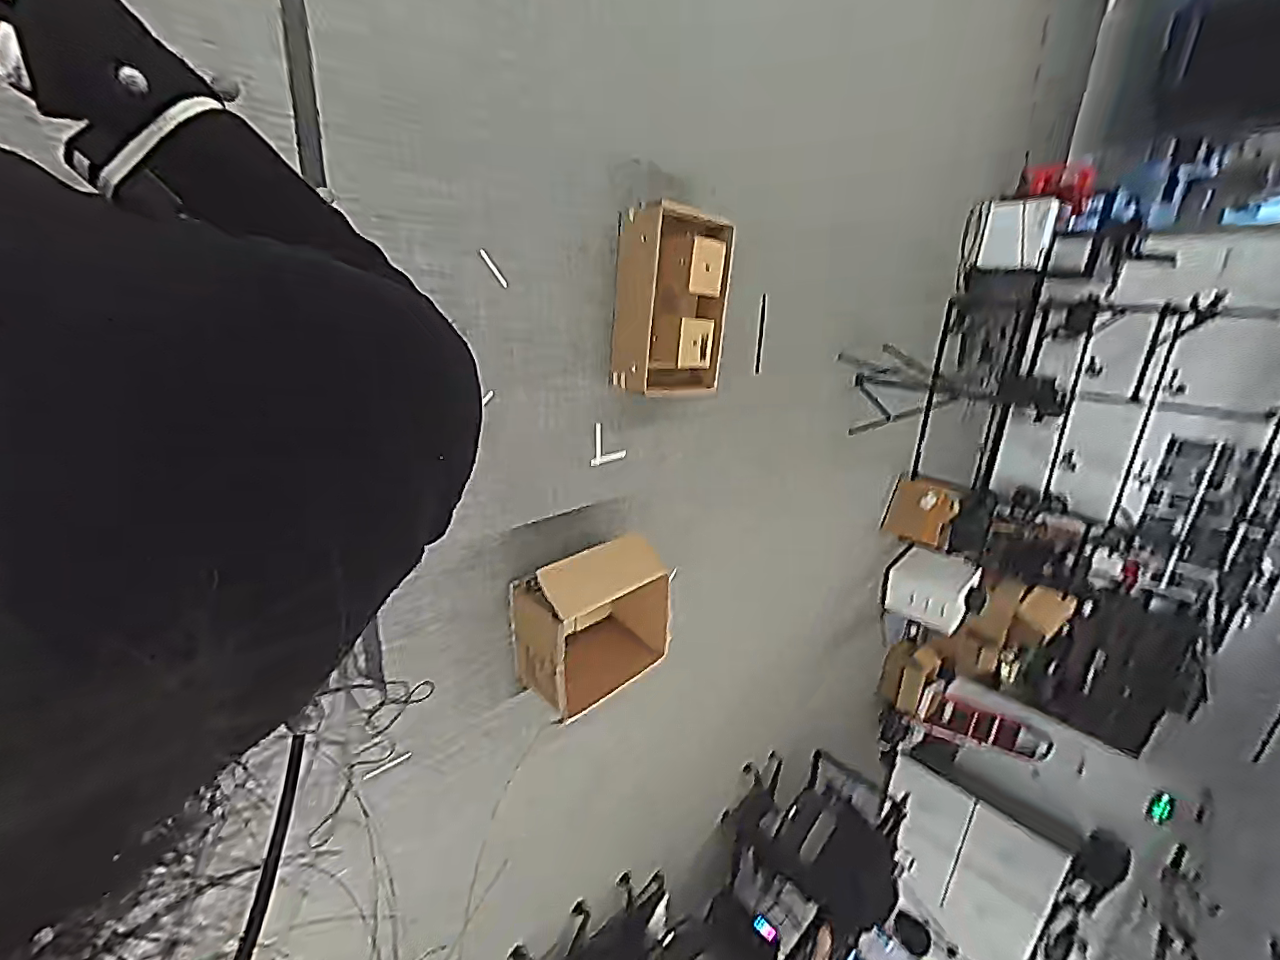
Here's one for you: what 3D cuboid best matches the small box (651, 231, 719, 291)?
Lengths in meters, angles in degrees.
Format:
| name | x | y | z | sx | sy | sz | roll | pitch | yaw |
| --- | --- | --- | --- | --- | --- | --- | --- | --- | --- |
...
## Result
| name | x | y | z | sx | sy | sz | roll | pitch | yaw |
| --- | --- | --- | --- | --- | --- | --- | --- | --- | --- |
| small box | 0.157 | -0.781 | 1.935 | 0.168 | 0.176 | 0.179 | -10 | 114 | -41 |
